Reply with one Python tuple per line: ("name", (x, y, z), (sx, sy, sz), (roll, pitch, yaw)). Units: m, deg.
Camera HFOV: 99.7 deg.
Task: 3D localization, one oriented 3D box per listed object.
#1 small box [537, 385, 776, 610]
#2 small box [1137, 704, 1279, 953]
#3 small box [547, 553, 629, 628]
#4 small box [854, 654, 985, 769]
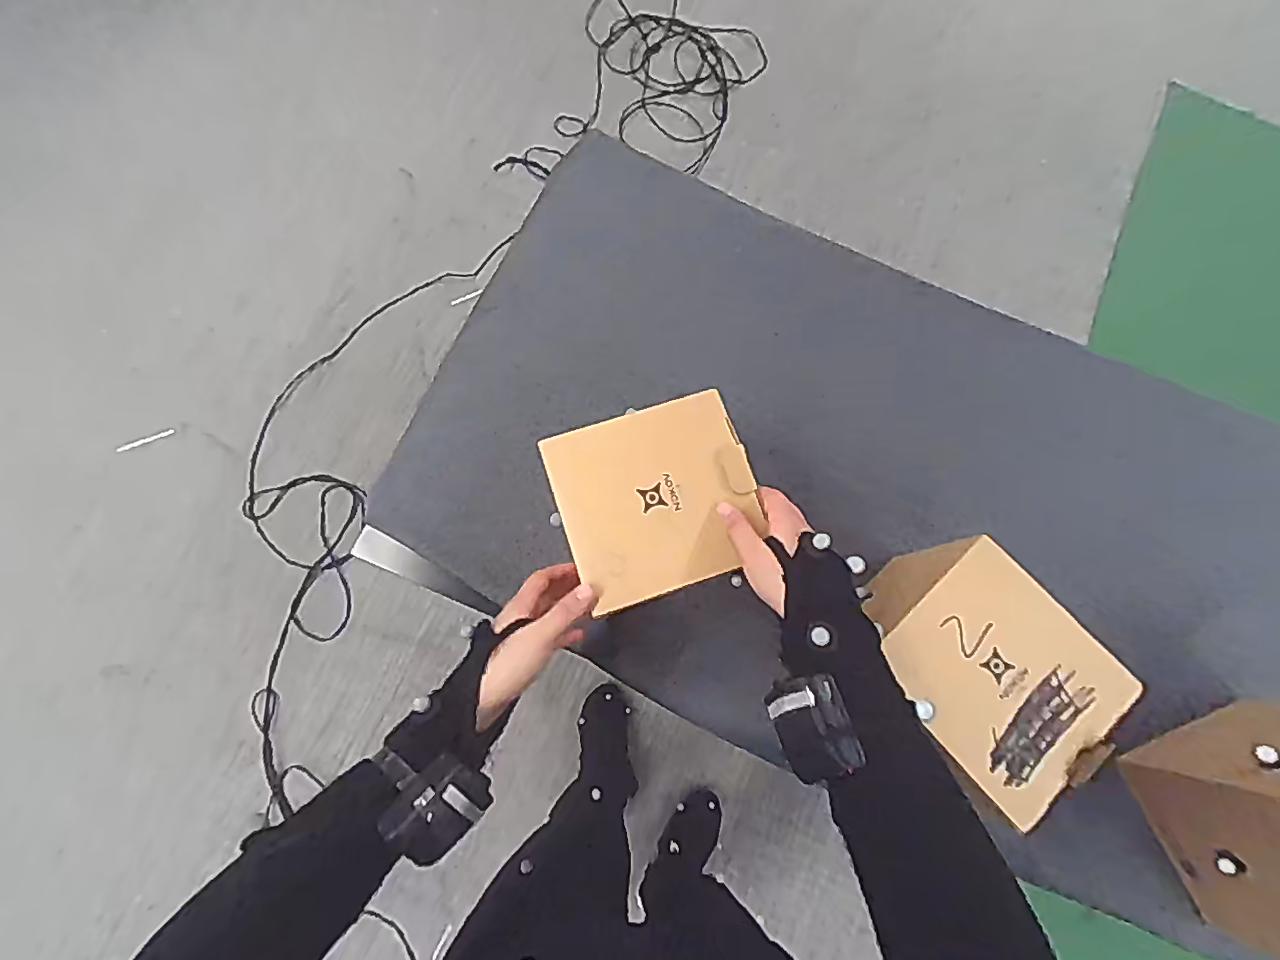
("small box", (0.011, 0.031, 0.553), (0.179, 0.176, 0.168), (-18, 78, -6))
("small box", (0.618, 0.321, 0.491), (0.179, 0.176, 0.168), (-19, 75, -7))
("small box", (-0.089, 0.226, 1.252), (0.179, 0.176, 0.168), (35, 78, 6))
("small box", (0.608, 0.502, 1.201), (0.179, 0.176, 0.168), (29, 77, 4))
